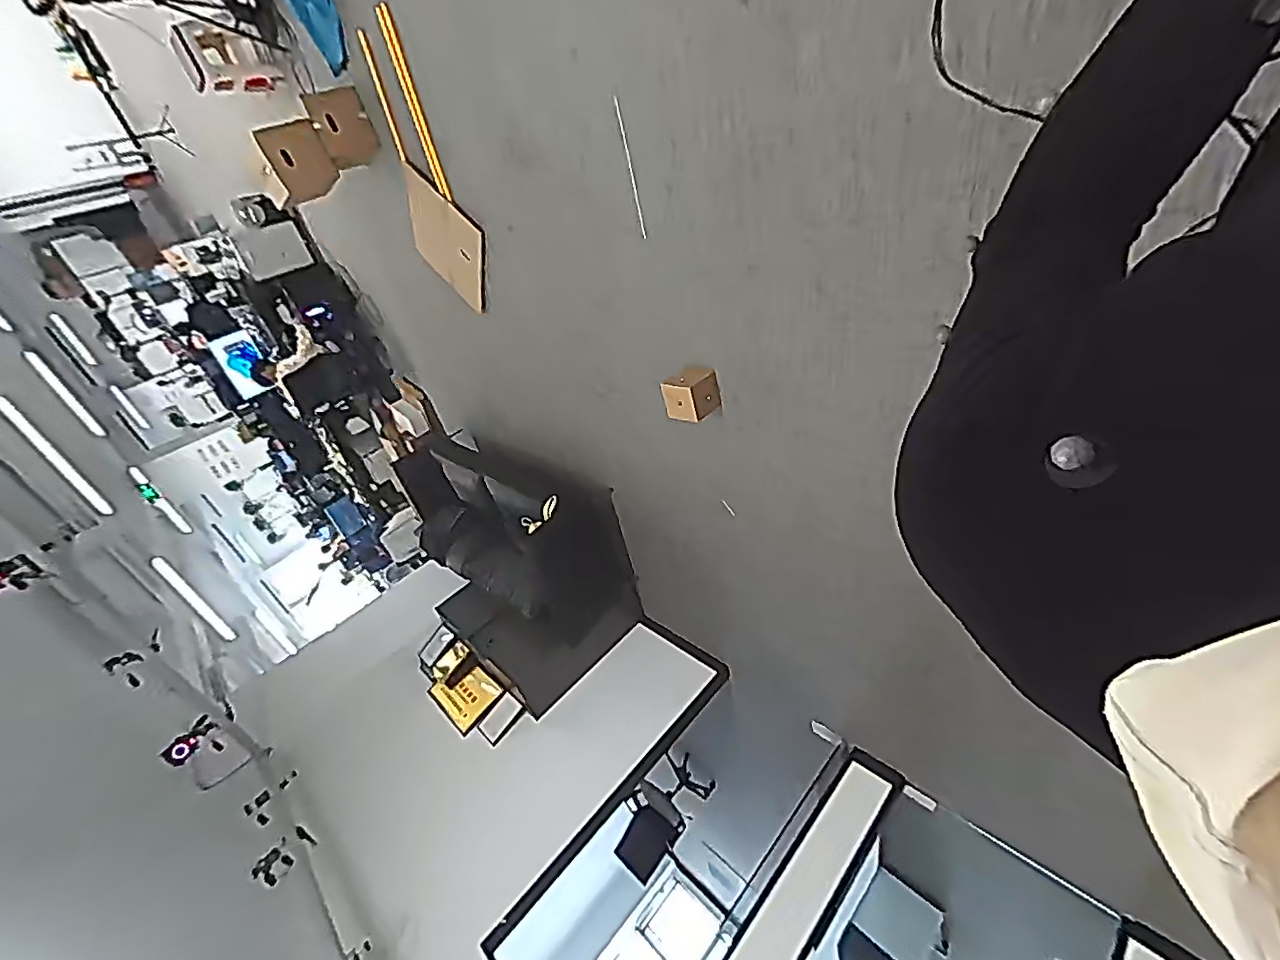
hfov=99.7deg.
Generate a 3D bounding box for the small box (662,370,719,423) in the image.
[{"bbox_3d":[0.228,-0.366,2.348,0.179,0.176,0.168,18,134,45],"label":"small box"}]
